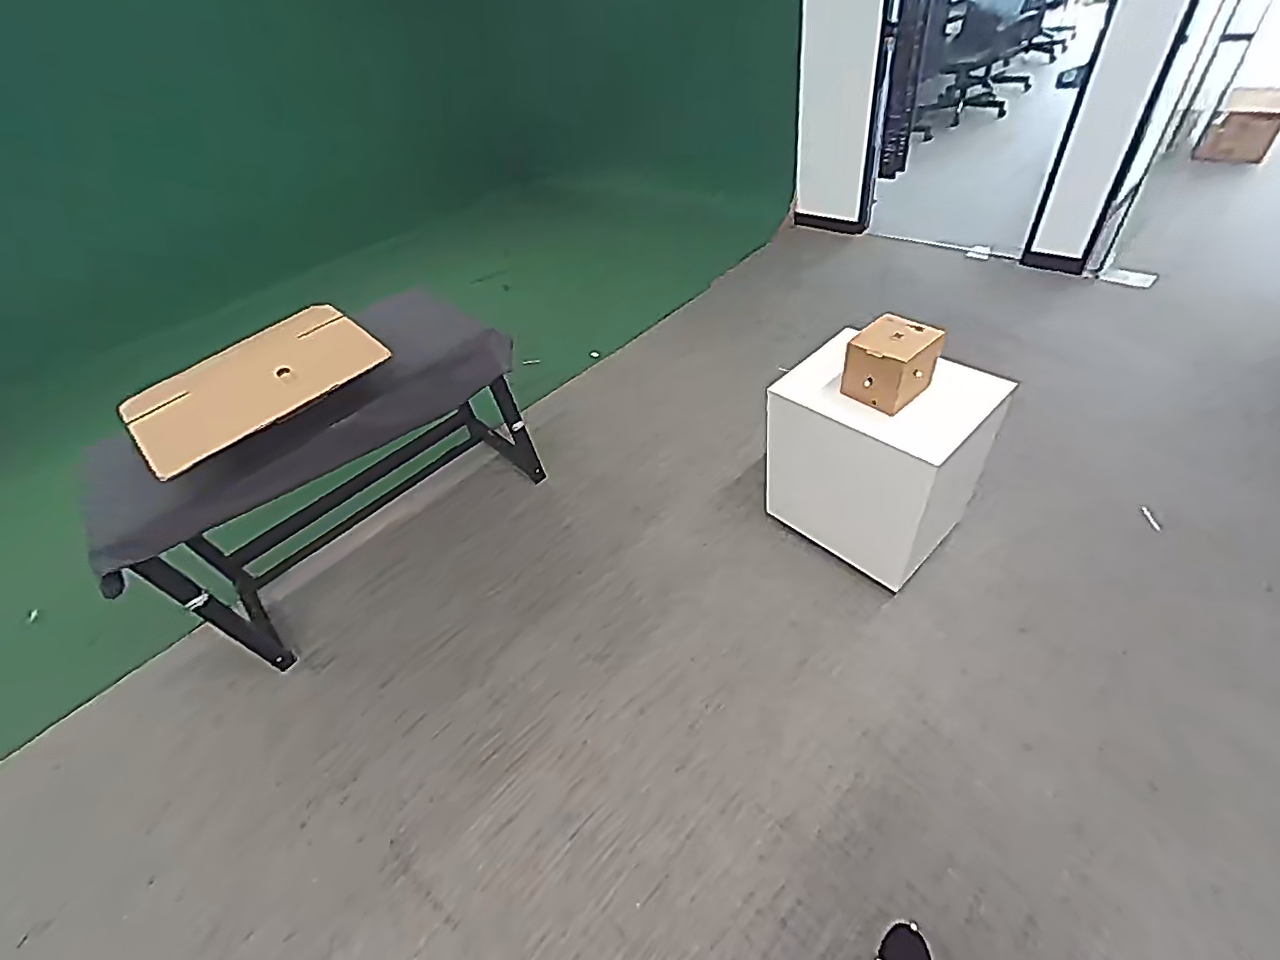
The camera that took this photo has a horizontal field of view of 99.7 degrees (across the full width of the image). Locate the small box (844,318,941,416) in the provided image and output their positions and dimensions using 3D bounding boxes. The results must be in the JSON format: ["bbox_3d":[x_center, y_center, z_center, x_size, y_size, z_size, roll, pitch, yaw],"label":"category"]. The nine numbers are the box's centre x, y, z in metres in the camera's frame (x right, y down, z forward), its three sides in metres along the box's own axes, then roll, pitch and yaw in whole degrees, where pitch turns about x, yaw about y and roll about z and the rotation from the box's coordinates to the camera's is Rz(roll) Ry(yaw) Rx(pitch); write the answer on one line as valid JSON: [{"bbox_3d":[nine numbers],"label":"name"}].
[{"bbox_3d":[0.662,-0.299,1.438,0.179,0.176,0.168,-37,49,-23],"label":"small box"}]
